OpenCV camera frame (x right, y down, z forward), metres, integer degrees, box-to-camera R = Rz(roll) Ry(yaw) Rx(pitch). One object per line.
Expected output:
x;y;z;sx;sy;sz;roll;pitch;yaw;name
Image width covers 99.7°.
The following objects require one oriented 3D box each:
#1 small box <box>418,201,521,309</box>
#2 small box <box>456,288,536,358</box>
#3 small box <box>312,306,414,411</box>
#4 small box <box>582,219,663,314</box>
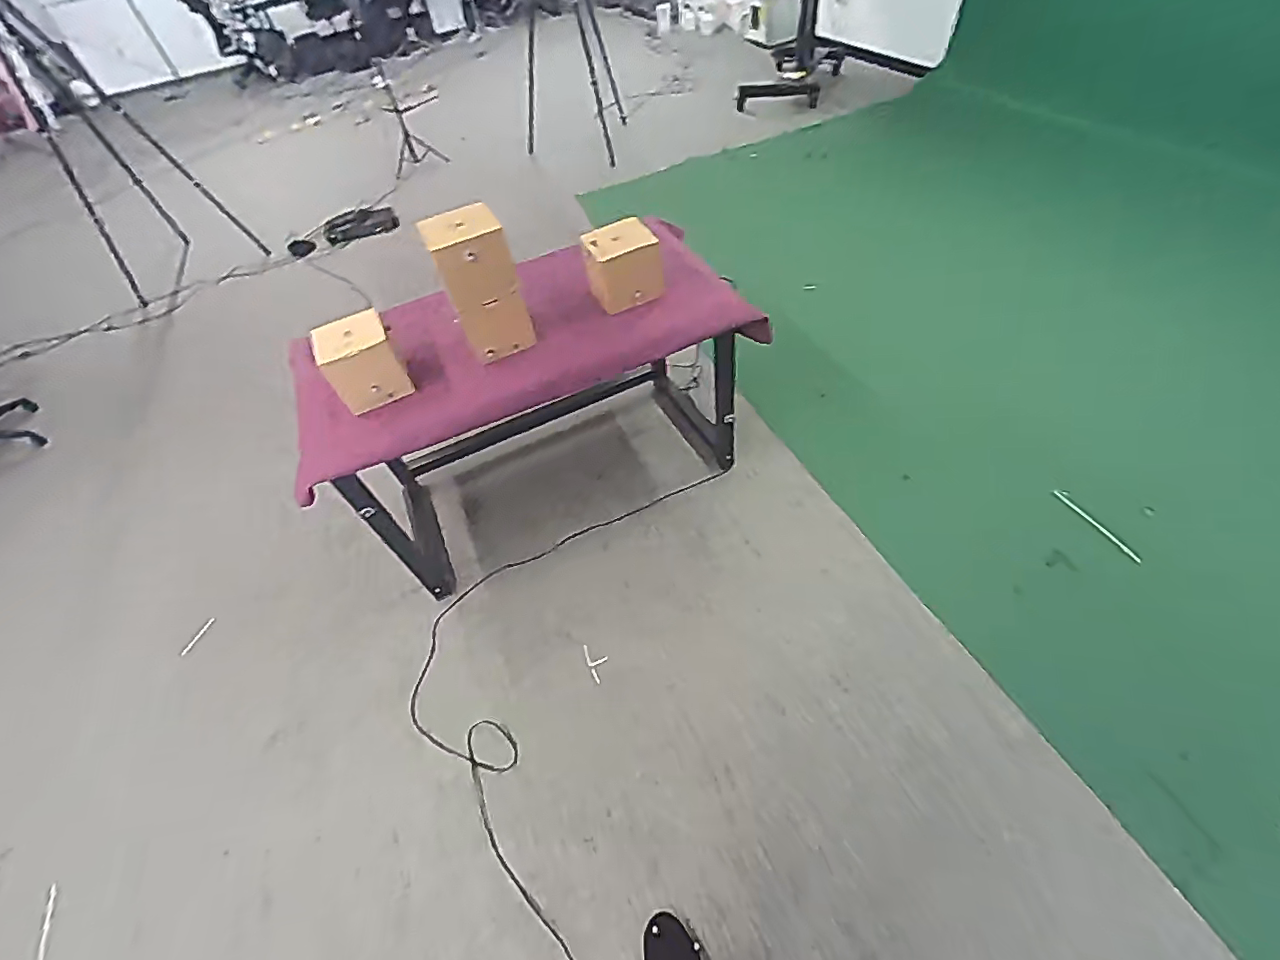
-0.414;-0.549;1.327;0.179;0.176;0.168;-24;53;-12;small box
-0.397;-0.450;1.455;0.168;0.176;0.179;-24;51;-12;small box
-0.706;-0.310;1.383;0.168;0.176;0.179;-25;53;-12;small box
-0.045;-0.602;1.528;0.179;0.176;0.168;-23;52;-11;small box
